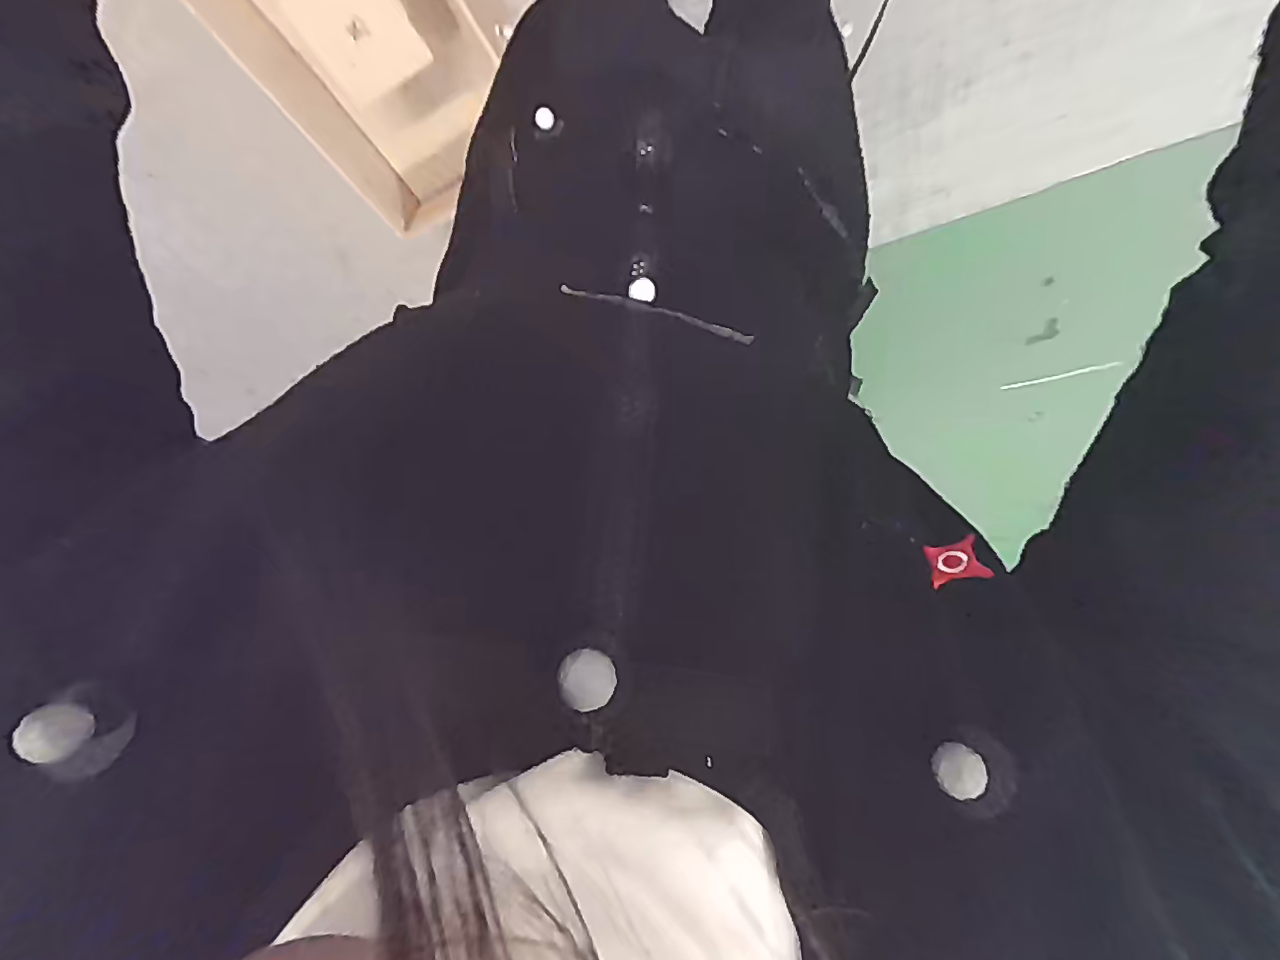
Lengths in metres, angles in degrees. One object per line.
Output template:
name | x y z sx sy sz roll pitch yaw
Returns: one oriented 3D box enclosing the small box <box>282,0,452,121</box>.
small box | -0.438 -0.757 0.903 0.179 0.176 0.168 -13 141 24
